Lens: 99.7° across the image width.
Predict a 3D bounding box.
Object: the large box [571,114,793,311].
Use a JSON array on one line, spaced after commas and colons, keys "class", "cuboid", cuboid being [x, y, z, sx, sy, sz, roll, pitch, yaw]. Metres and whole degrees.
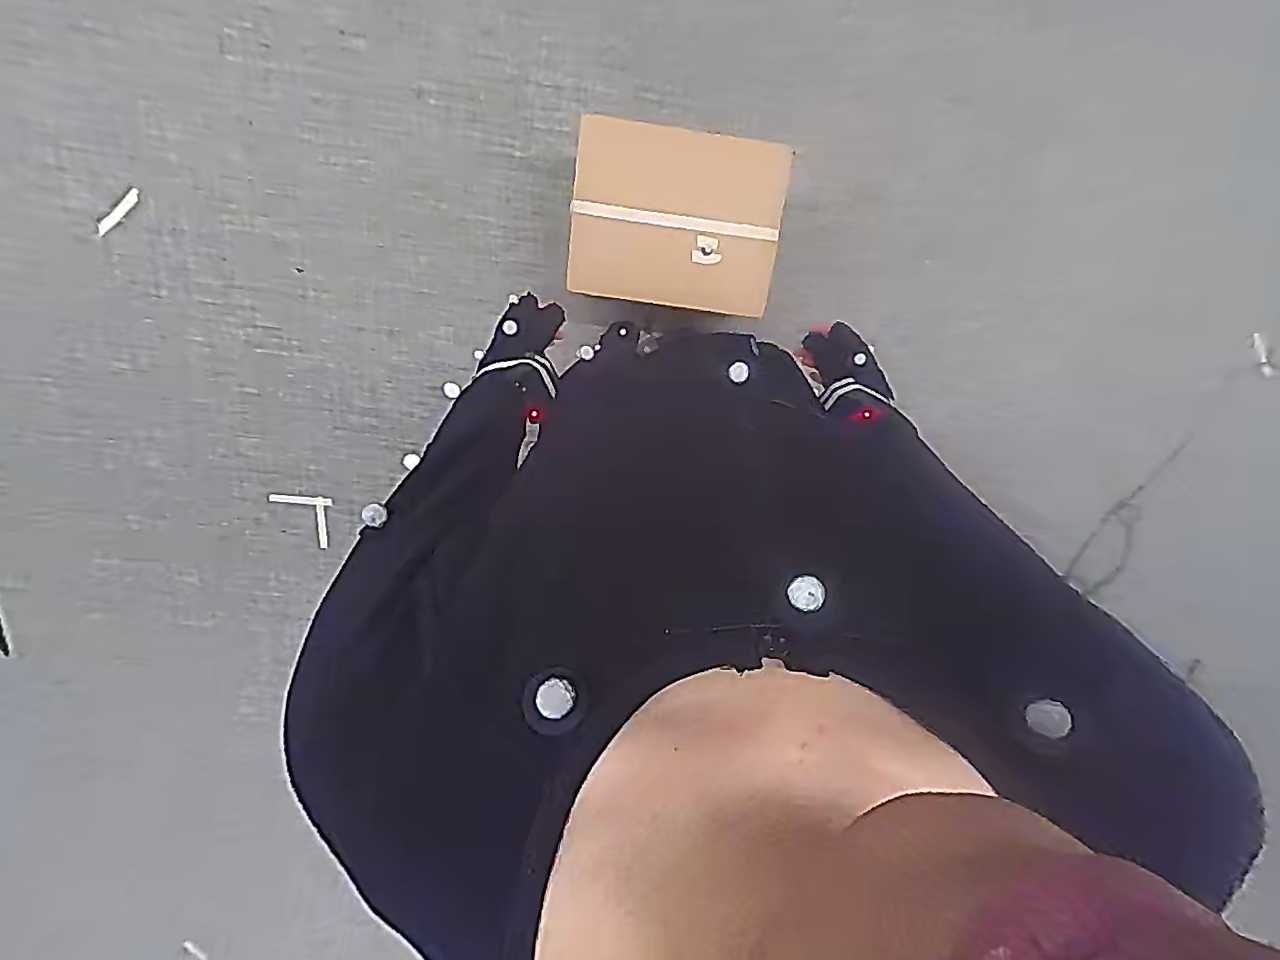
[{"class": "large box", "cuboid": [0.069, -0.551, 1.184, 0.408, 0.320, 0.320, 6, 108, -4]}]
